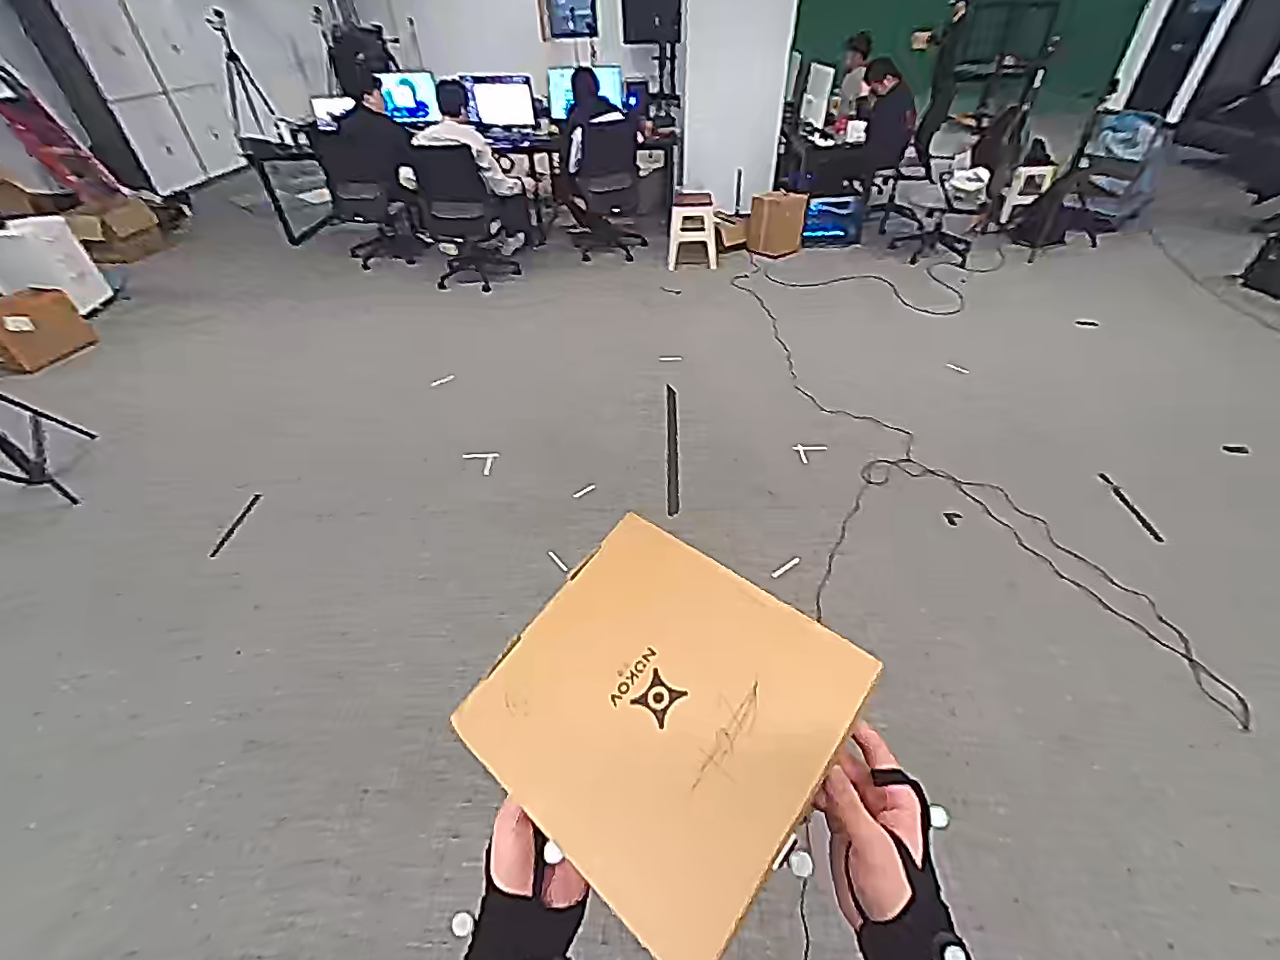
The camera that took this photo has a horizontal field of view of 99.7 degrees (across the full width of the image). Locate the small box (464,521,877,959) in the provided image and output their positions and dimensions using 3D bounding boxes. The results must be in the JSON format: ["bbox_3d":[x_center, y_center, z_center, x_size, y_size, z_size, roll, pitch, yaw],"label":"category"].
[{"bbox_3d":[0.027,0.164,0.362,0.179,0.176,0.168,29,67,30],"label":"small box"}]
